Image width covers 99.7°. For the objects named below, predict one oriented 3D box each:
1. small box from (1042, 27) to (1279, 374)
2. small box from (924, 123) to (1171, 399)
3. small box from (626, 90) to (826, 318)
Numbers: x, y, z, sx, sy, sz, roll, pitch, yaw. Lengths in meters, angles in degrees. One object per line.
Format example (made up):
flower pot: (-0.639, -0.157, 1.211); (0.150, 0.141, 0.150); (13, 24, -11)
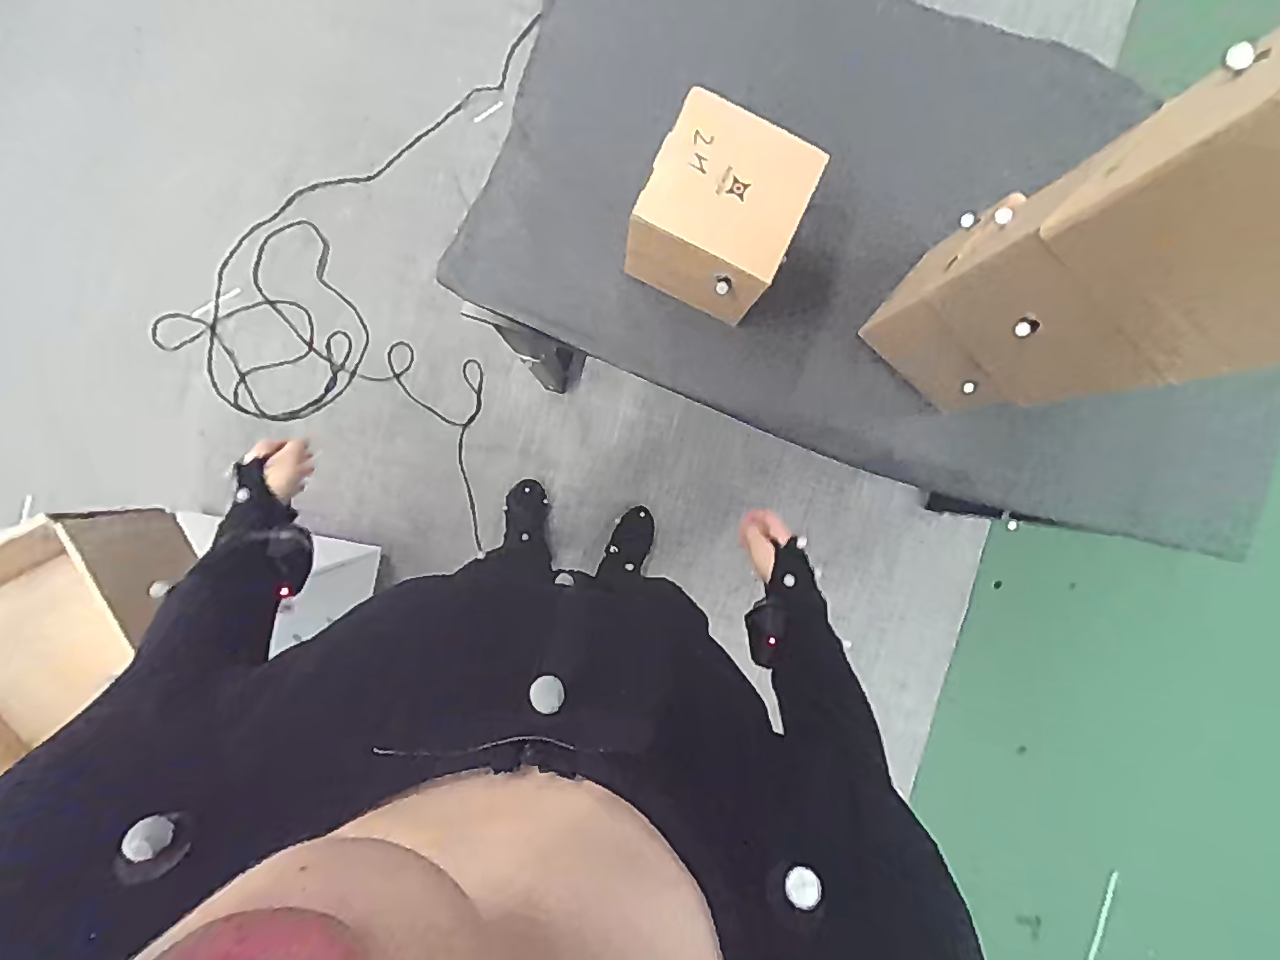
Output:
small box: (0.441, -0.198, 0.373); (0.168, 0.176, 0.179); (-44, 93, -3)
small box: (0.434, -0.197, 0.536); (0.168, 0.176, 0.179); (-41, 92, -3)
small box: (0.094, -0.325, 0.682); (0.179, 0.176, 0.168); (26, 88, -3)
